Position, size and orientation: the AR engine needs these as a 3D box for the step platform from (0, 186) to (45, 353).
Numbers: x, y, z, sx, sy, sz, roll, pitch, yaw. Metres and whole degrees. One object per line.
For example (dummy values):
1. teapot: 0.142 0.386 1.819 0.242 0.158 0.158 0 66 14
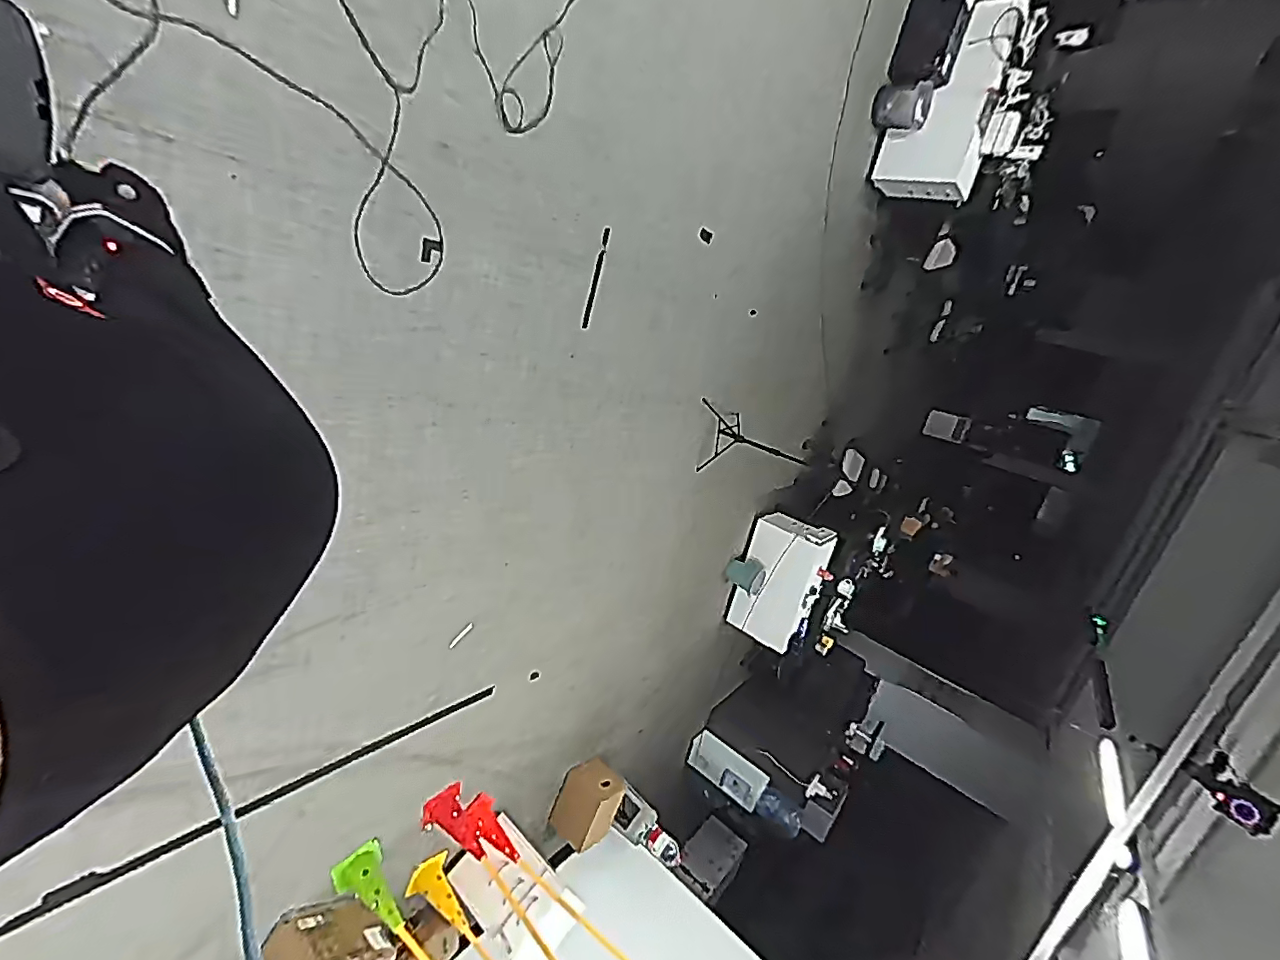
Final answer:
1. step platform: -1.339 -0.352 0.755 0.684 0.204 0.286 -10 119 -50
